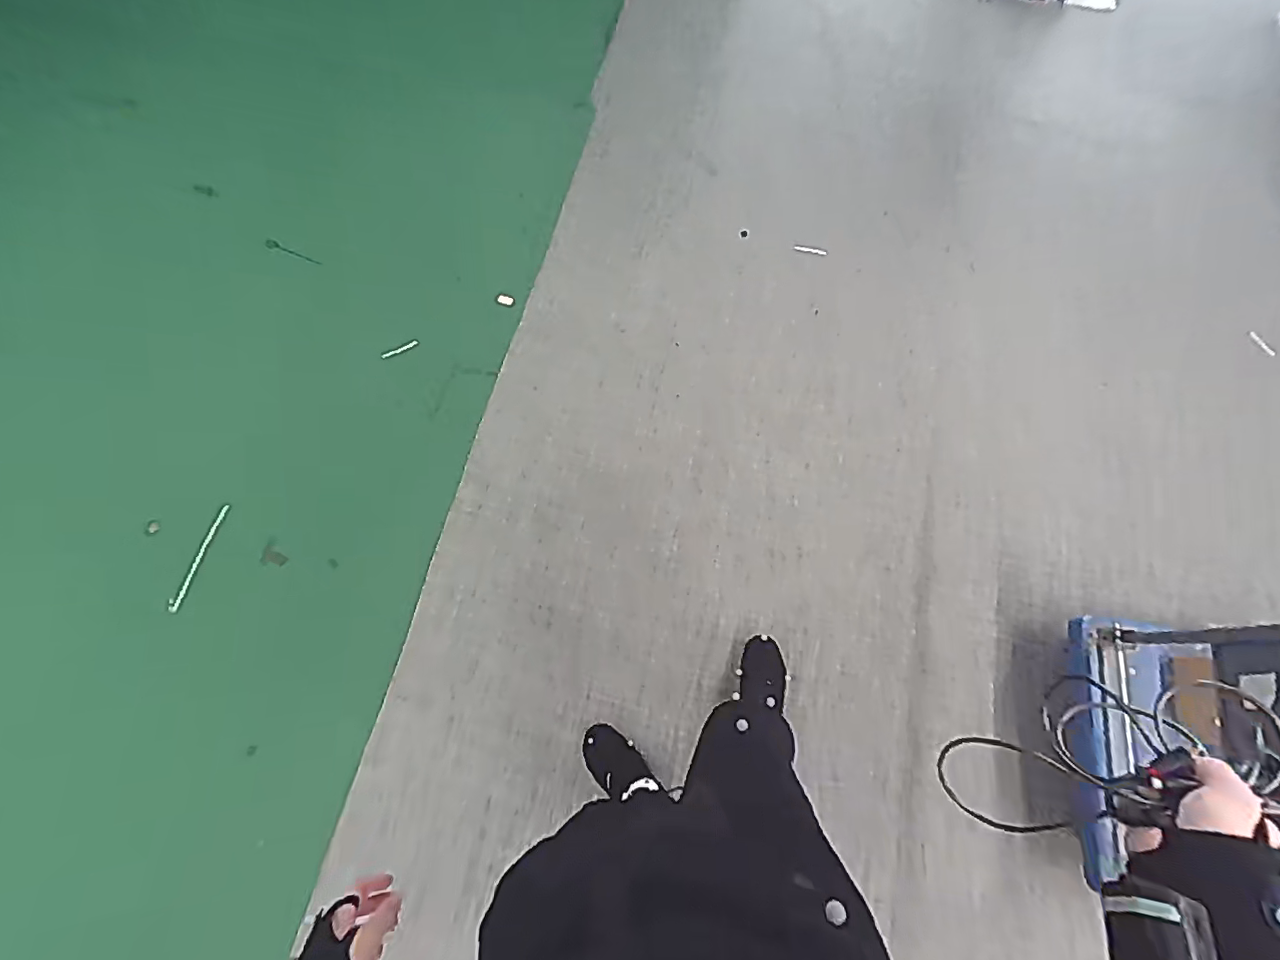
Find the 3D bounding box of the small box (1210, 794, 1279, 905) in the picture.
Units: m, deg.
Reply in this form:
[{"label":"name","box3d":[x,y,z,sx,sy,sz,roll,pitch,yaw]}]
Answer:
[{"label":"small box","box3d":[1.260,0.720,1.026,0.179,0.176,0.168,10,72,6]}]
